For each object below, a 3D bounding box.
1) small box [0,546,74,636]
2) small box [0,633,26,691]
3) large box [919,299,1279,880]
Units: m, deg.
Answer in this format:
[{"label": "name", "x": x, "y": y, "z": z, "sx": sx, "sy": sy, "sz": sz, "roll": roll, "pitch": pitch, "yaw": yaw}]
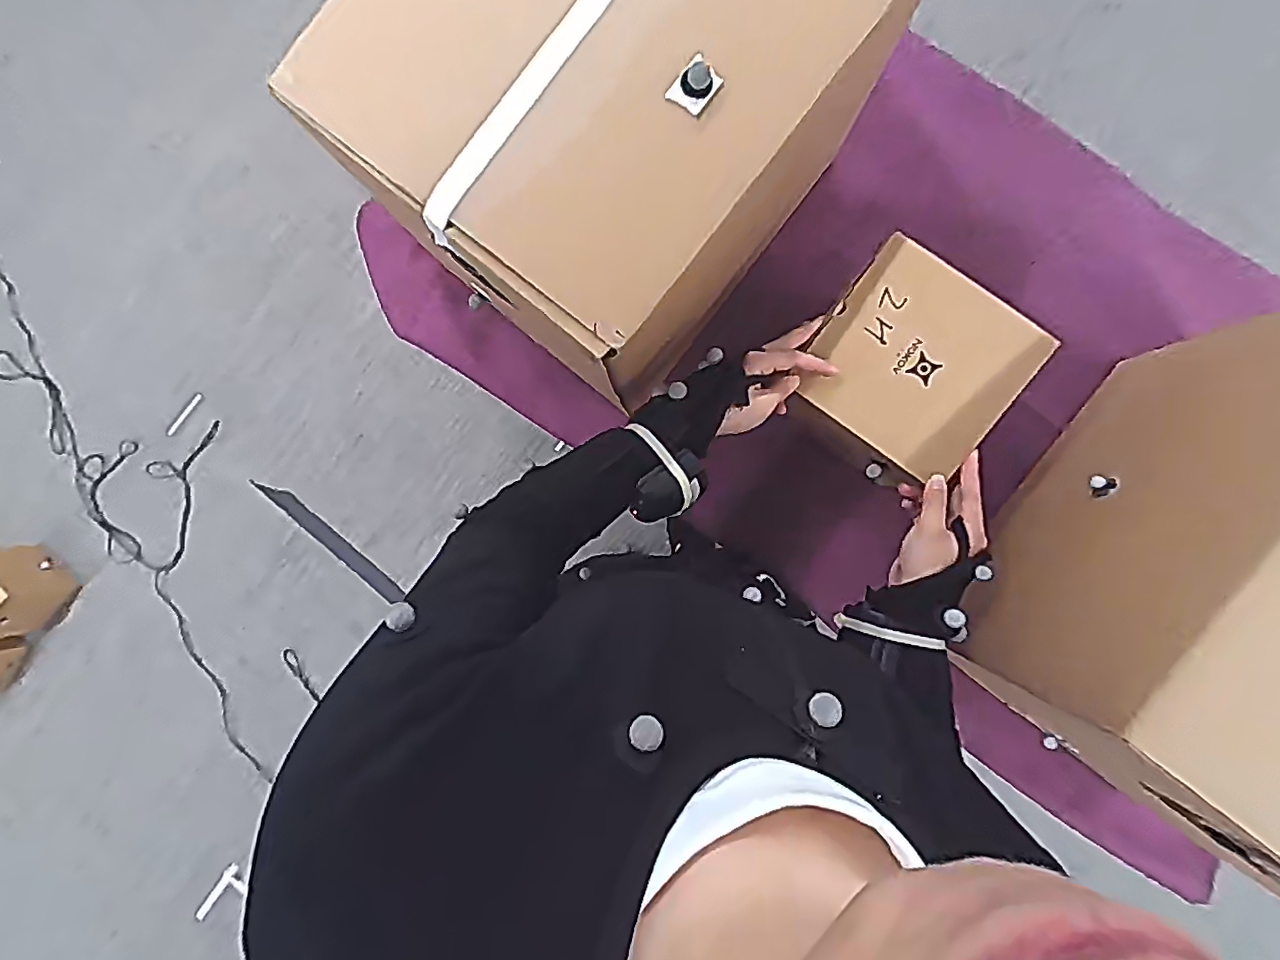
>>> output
[{"label": "small box", "x": -1.652, "y": 0.292, "z": 1.400, "sx": 0.168, "sy": 0.176, "sz": 0.179, "roll": 44, "pitch": 91, "yaw": 4}, {"label": "small box", "x": -1.797, "y": 0.476, "z": 1.408, "sx": 0.179, "sy": 0.176, "sz": 0.168, "roll": 32, "pitch": 91, "yaw": 4}, {"label": "large box", "x": 0.543, "y": 0.095, "z": 0.469, "sx": 0.320, "sy": 0.320, "sz": 0.408, "roll": 38, "pitch": 89, "yaw": 3}]
